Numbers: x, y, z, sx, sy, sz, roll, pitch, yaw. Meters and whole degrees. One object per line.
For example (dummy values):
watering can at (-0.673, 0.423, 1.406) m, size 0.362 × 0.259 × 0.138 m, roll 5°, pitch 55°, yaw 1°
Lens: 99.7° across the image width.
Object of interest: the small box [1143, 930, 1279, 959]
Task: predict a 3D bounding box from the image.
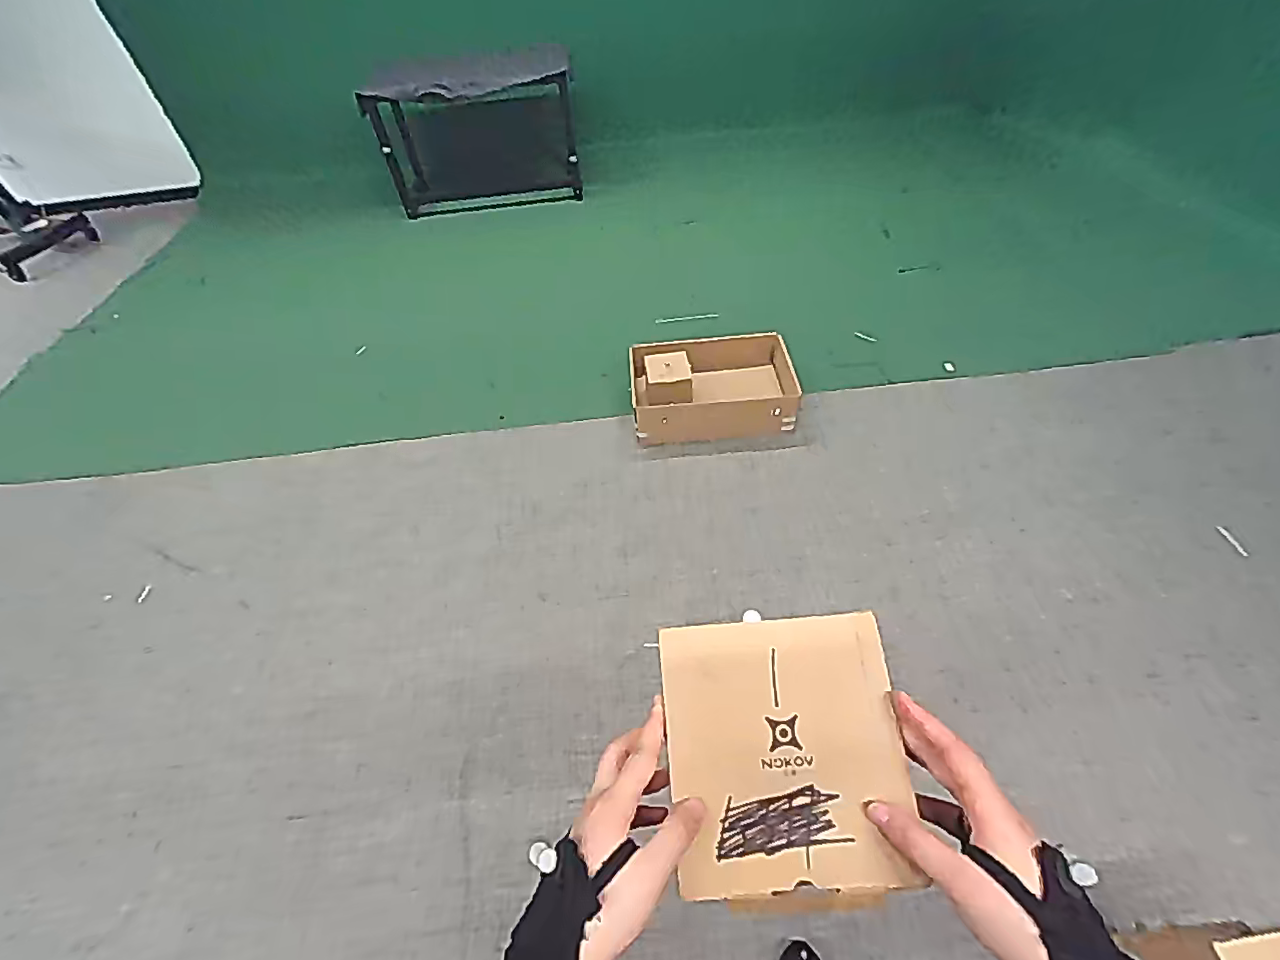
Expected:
small box at (0.857, 0.722, 0.727) m, size 0.179 × 0.176 × 0.168 m, roll -7°, pitch 48°, yaw -2°

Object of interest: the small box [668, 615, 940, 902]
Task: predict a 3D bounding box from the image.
small box at (0.113, 0.213, 0.453) m, size 0.168 × 0.176 × 0.179 m, roll -5°, pitch 71°, yaw 1°

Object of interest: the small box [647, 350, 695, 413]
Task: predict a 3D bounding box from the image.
small box at (0.119, -0.383, 2.112) m, size 0.168 × 0.176 × 0.179 m, roll -7°, pitch 50°, yaw -1°

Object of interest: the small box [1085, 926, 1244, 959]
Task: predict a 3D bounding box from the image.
small box at (0.874, 0.824, 0.855) m, size 0.179 × 0.176 × 0.168 m, roll -9°, pitch 48°, yaw -1°
